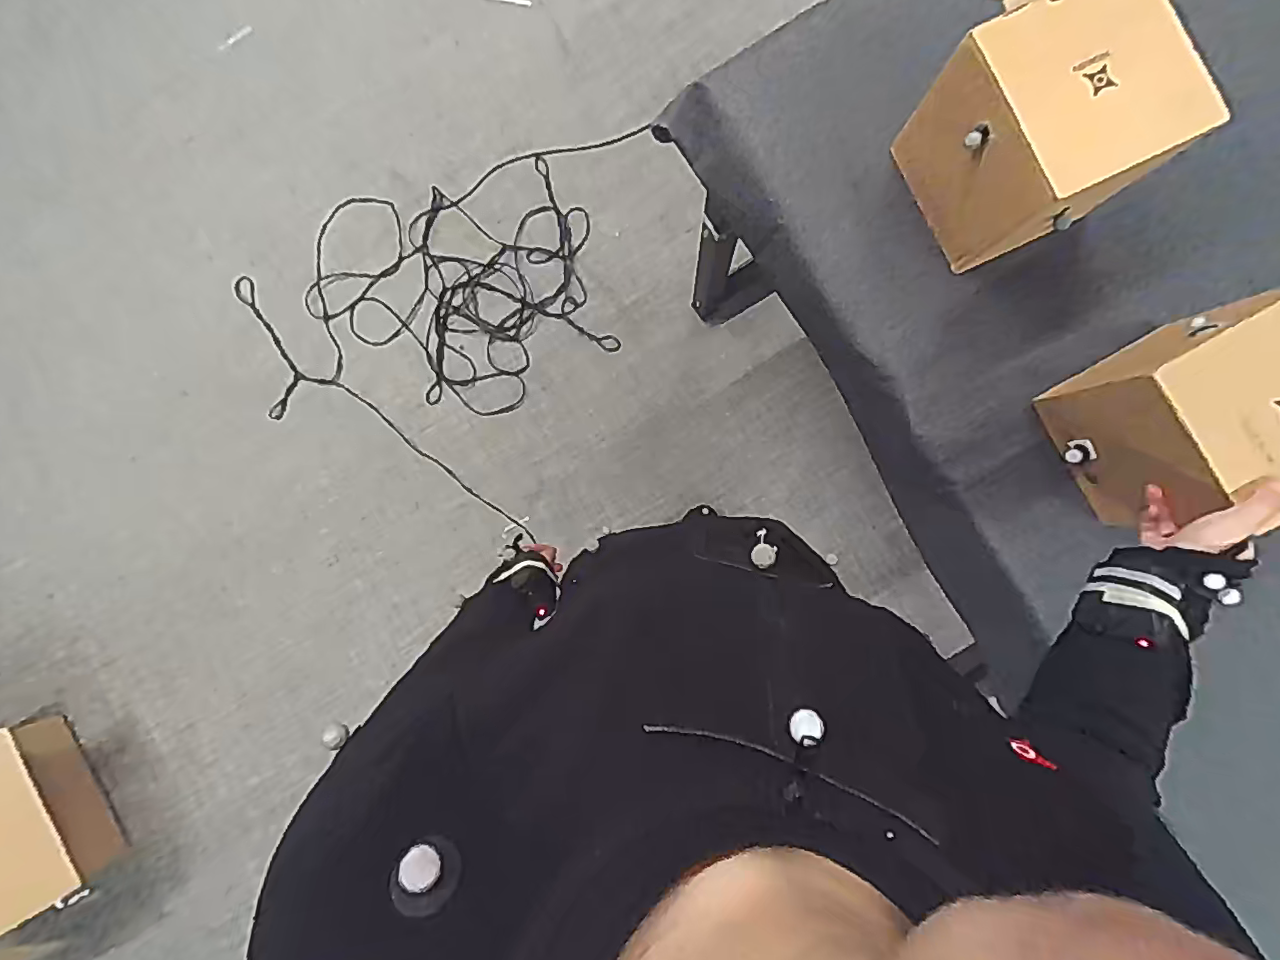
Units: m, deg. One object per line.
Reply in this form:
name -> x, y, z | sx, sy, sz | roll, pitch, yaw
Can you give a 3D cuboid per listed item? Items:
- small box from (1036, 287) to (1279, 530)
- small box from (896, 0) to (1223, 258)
small box -> 0.559, -0.069, 0.538 | 0.179, 0.176, 0.168 | -31, 87, 3
small box -> 0.404, -0.358, 0.557 | 0.168, 0.176, 0.179 | -25, 87, 1
